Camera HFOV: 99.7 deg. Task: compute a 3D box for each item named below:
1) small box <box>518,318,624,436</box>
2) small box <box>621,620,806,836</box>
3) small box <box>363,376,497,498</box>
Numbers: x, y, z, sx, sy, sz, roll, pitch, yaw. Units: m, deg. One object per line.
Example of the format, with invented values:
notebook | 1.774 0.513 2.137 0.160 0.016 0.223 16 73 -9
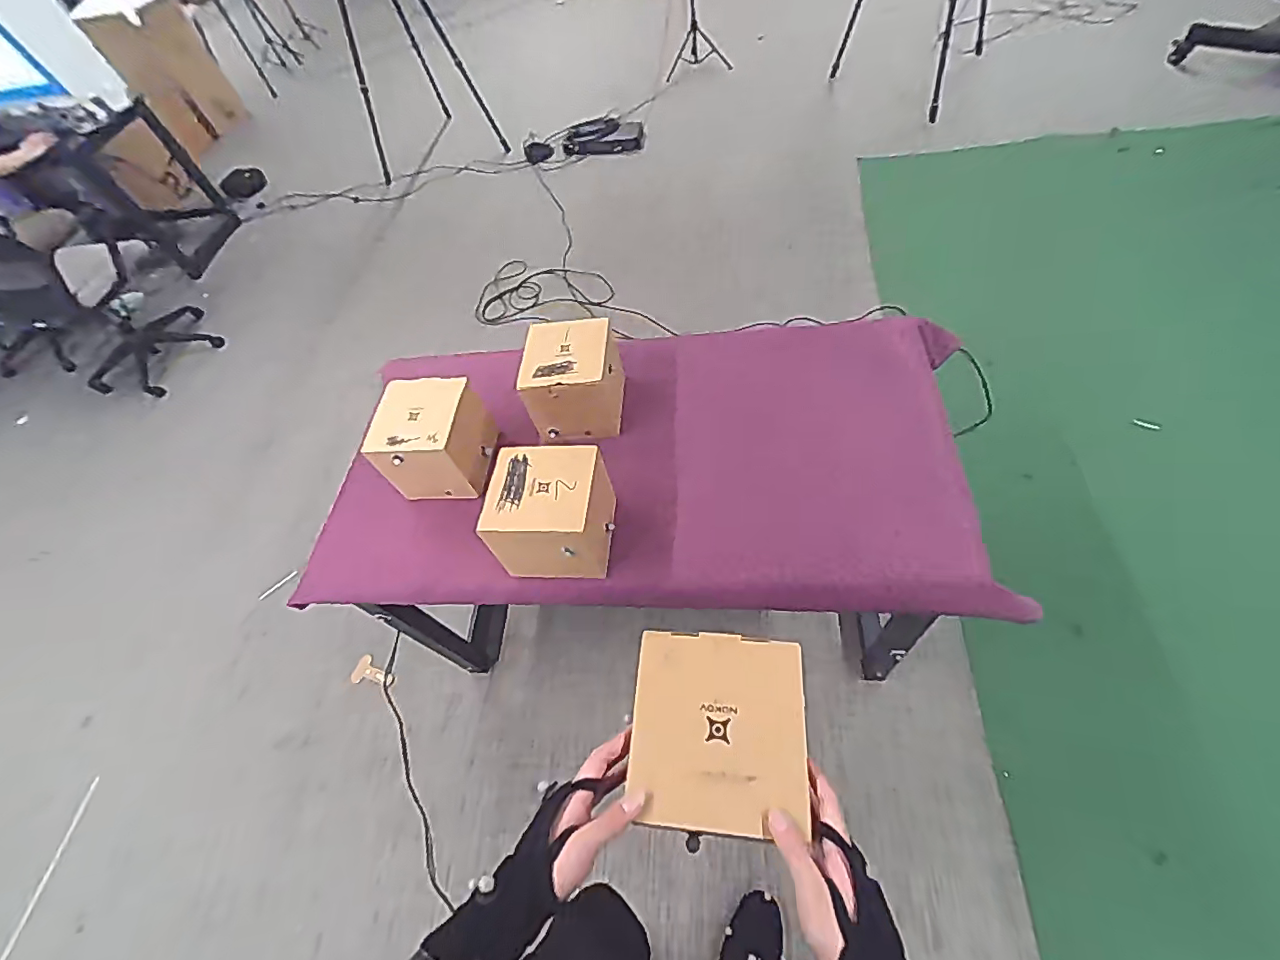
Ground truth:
small box | -0.131 -0.200 1.099 0.168 0.176 0.179 -2 56 9
small box | 0.078 0.270 0.585 0.168 0.176 0.179 3 57 8
small box | -0.401 -0.082 1.070 0.168 0.176 0.179 -2 56 11
